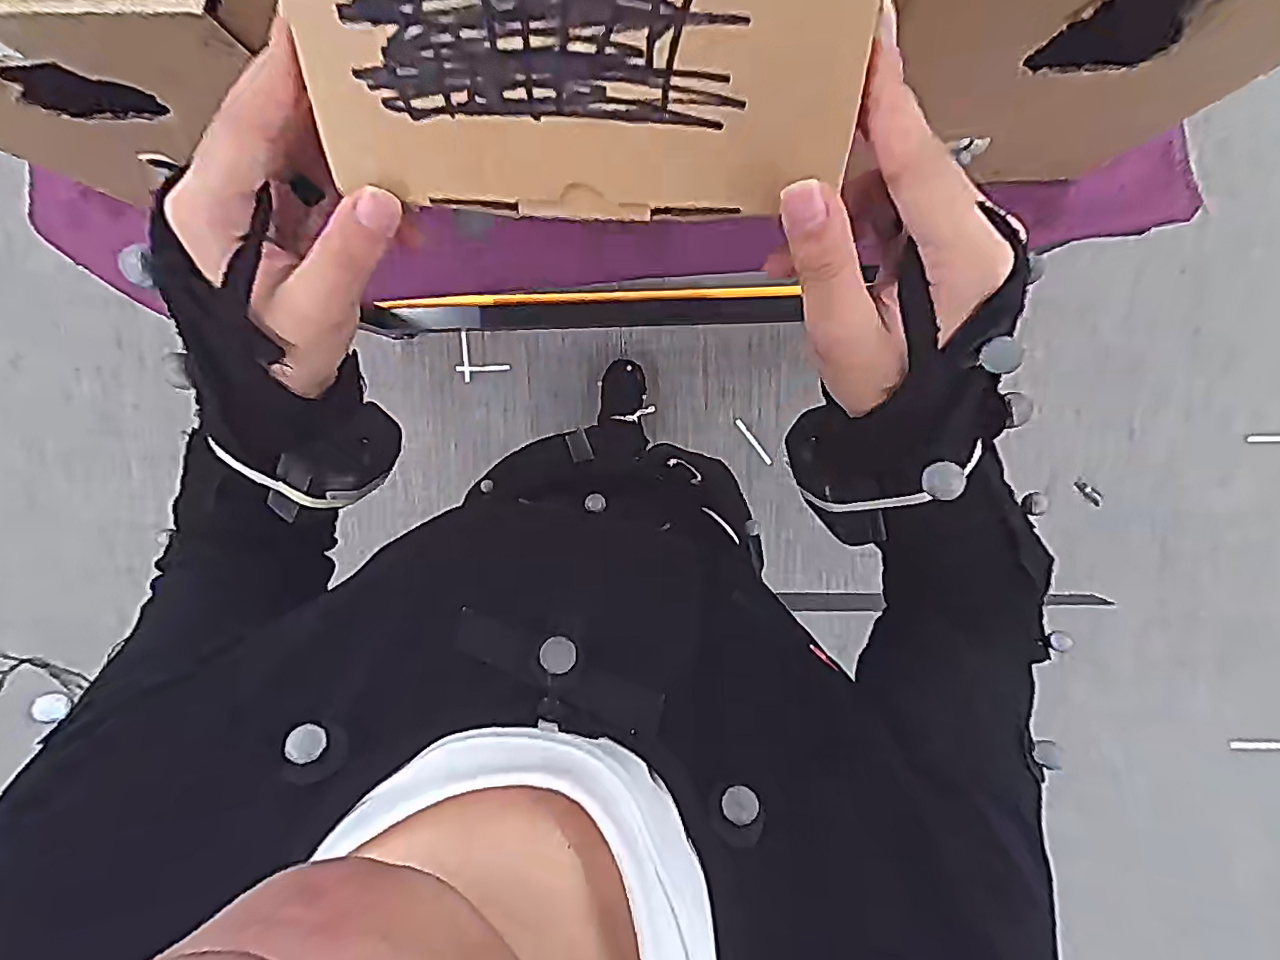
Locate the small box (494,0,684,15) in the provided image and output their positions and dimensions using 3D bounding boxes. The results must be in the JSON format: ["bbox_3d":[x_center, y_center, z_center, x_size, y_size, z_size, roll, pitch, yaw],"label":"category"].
[{"bbox_3d":[-0.033,-0.440,0.340,0.179,0.176,0.168,0,96,3],"label":"small box"}]

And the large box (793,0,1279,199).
[{"bbox_3d":[0.306,-0.494,0.420,0.320,0.320,0.408,-2,95,1],"label":"large box"}]
